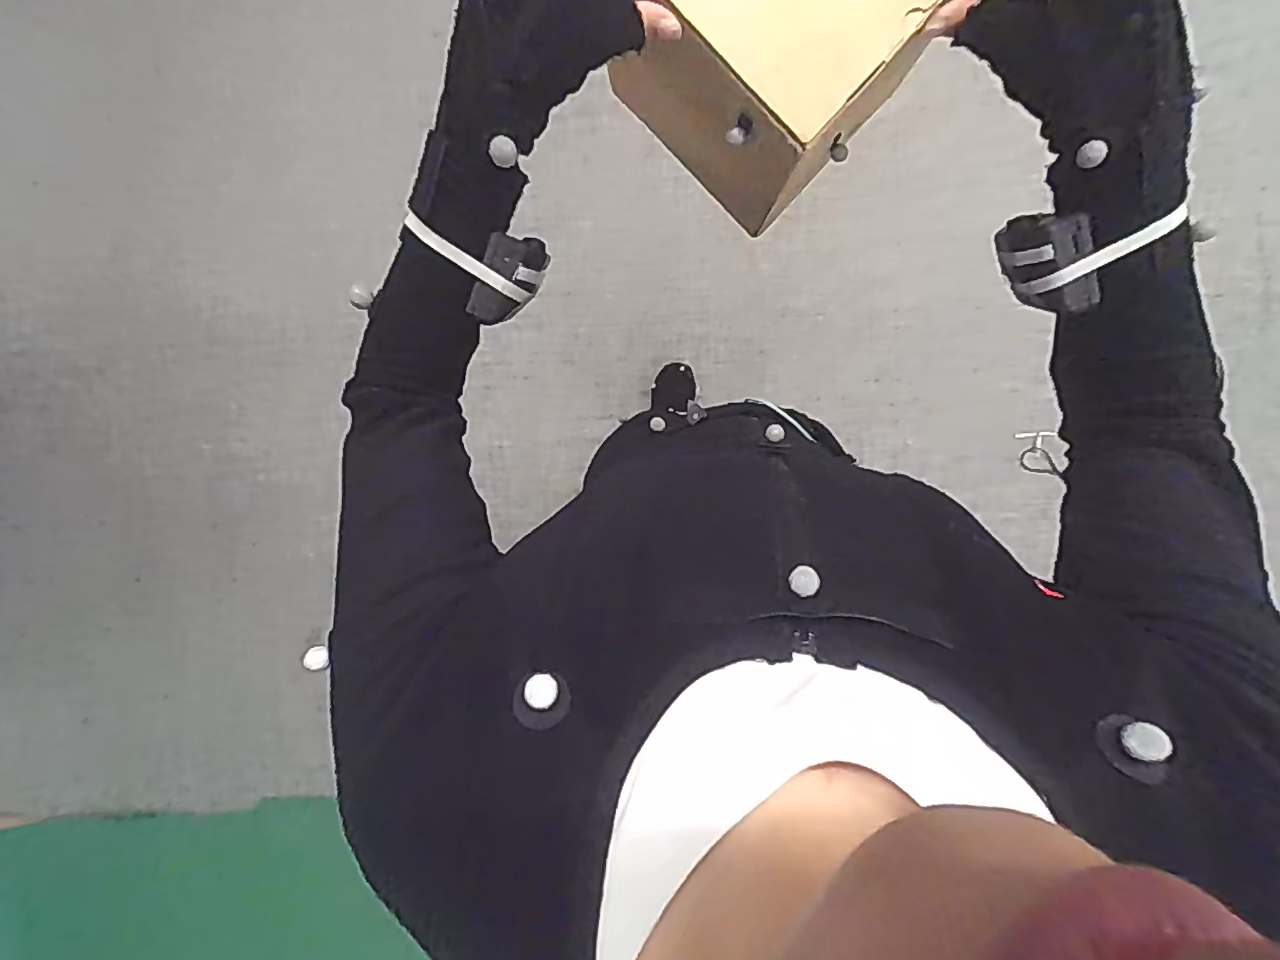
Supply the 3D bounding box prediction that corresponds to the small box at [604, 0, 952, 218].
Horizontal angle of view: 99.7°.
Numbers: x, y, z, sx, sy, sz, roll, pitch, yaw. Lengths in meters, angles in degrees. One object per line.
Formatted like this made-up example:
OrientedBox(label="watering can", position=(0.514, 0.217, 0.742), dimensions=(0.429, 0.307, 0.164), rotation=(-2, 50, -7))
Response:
OrientedBox(label="small box", position=(0.086, -0.320, 0.371), dimensions=(0.179, 0.176, 0.168), rotation=(44, 97, -6))
